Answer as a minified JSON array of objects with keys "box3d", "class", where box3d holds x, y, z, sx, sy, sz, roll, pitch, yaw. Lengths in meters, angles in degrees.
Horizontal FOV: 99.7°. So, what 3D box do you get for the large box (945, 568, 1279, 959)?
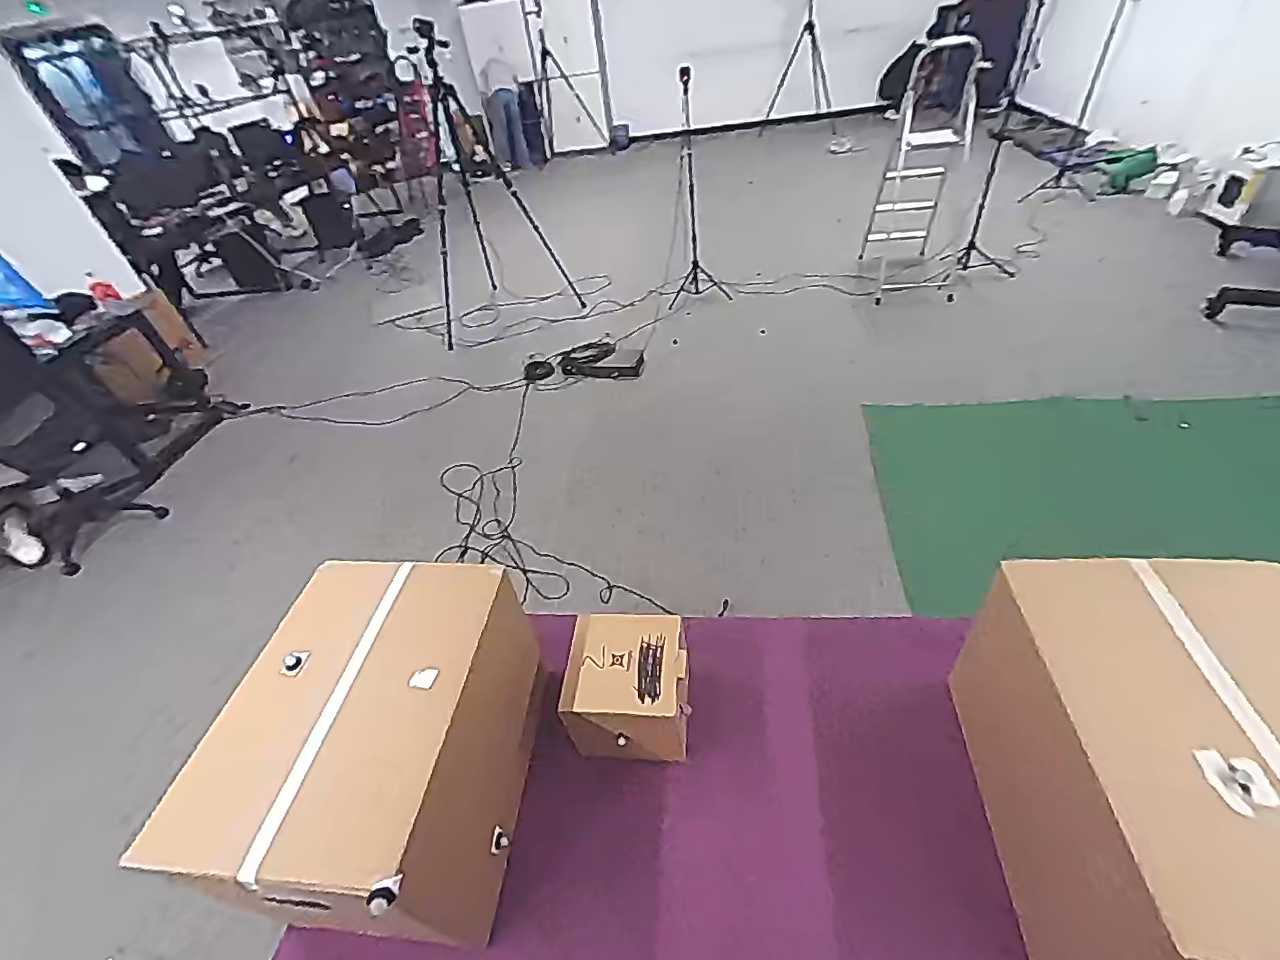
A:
[{"box3d":[0.613,0.356,0.635,0.320,0.320,0.408,-1,42,11],"class":"large box"}]
